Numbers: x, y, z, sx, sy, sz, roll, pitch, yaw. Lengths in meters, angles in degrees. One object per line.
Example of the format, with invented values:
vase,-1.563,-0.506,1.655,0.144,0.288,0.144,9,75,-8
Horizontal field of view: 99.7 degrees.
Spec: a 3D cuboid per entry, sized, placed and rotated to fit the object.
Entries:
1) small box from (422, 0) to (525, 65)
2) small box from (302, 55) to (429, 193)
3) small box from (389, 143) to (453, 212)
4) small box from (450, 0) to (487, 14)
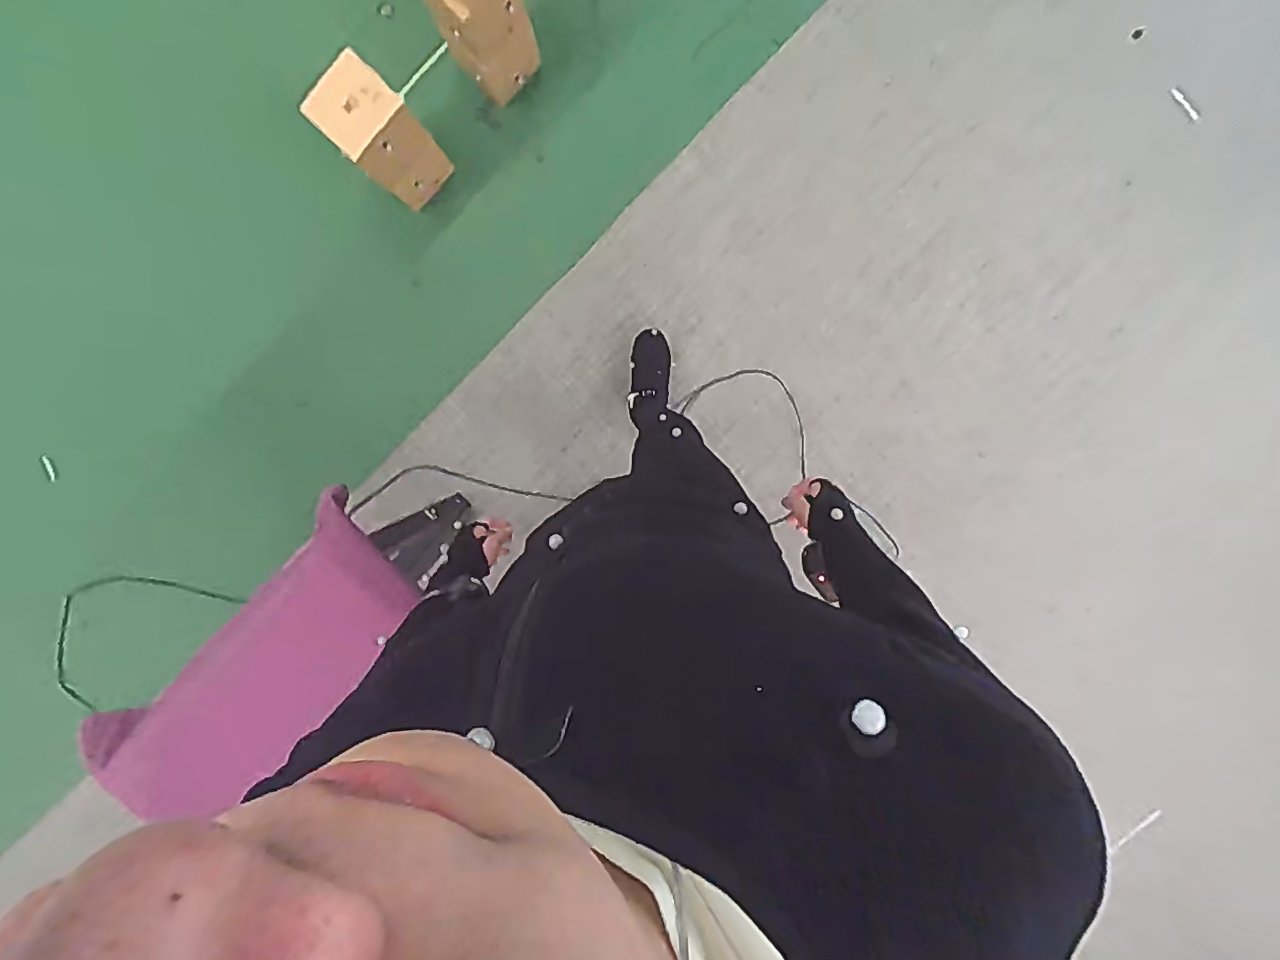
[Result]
small box,-0.388,-1.108,1.239,0.179,0.176,0.168,44,94,-5
small box,-0.634,-0.824,1.275,0.168,0.176,0.179,43,95,-4
small box,-0.633,-0.848,1.438,0.179,0.176,0.168,44,96,-3
small box,-0.376,-1.100,1.075,0.179,0.176,0.168,38,95,-6
